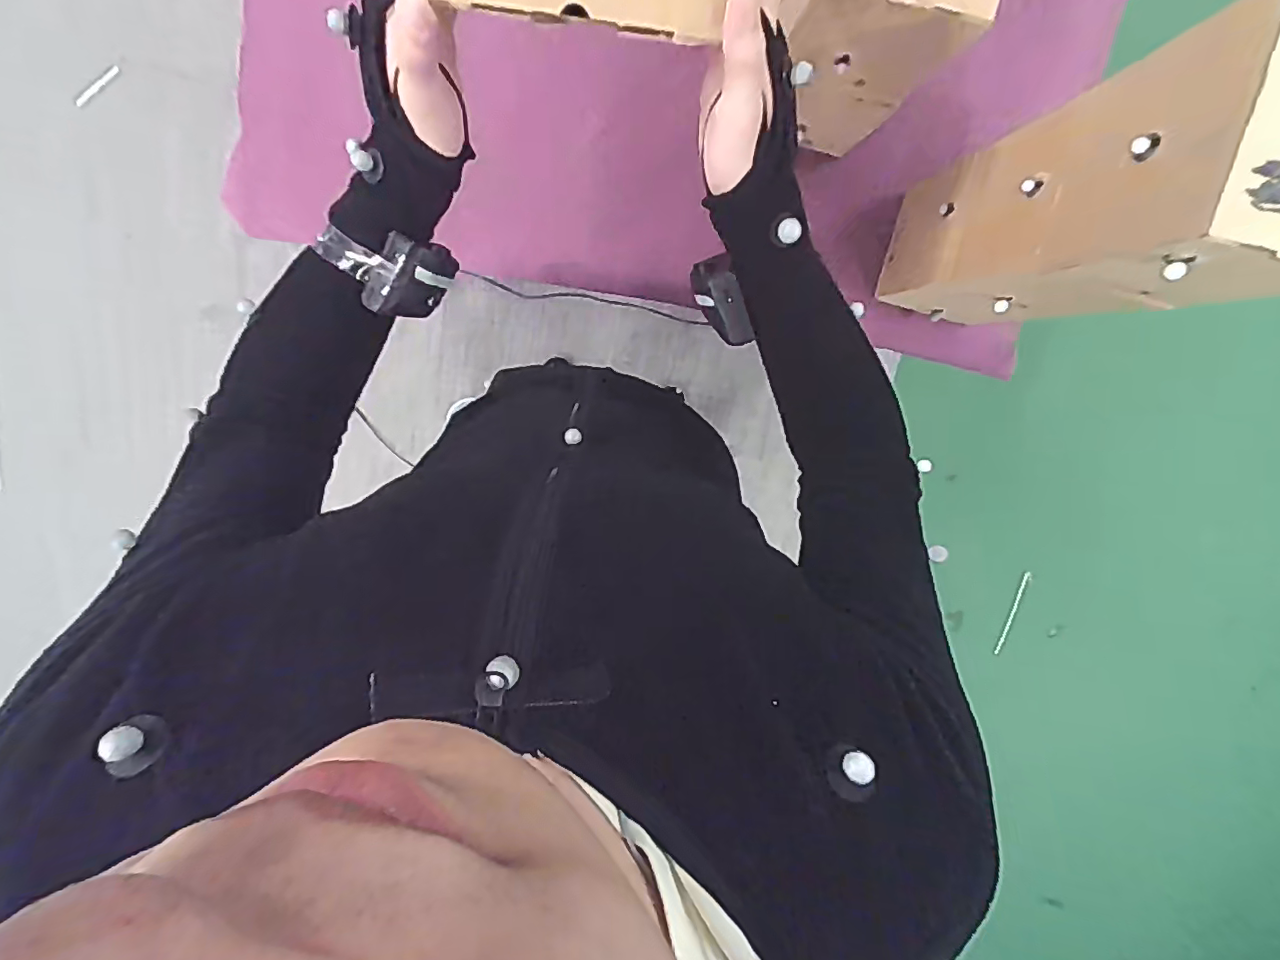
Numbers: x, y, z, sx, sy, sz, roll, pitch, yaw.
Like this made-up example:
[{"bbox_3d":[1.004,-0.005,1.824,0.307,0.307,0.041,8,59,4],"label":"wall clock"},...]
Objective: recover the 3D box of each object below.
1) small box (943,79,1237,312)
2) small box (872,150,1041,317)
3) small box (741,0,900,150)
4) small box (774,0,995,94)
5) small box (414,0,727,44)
[{"bbox_3d":[0.490,-0.304,0.621,0.168,0.176,0.179,13,102,-5],"label":"small box"},{"bbox_3d":[0.475,-0.339,0.781,0.179,0.176,0.168,12,102,-6],"label":"small box"},{"bbox_3d":[0.244,-0.572,0.706,0.168,0.176,0.179,12,103,-7],"label":"small box"},{"bbox_3d":[0.251,-0.538,0.547,0.168,0.176,0.179,9,104,-7],"label":"small box"},{"bbox_3d":[-0.033,-0.351,0.269,0.168,0.176,0.179,0,136,-9],"label":"small box"}]
